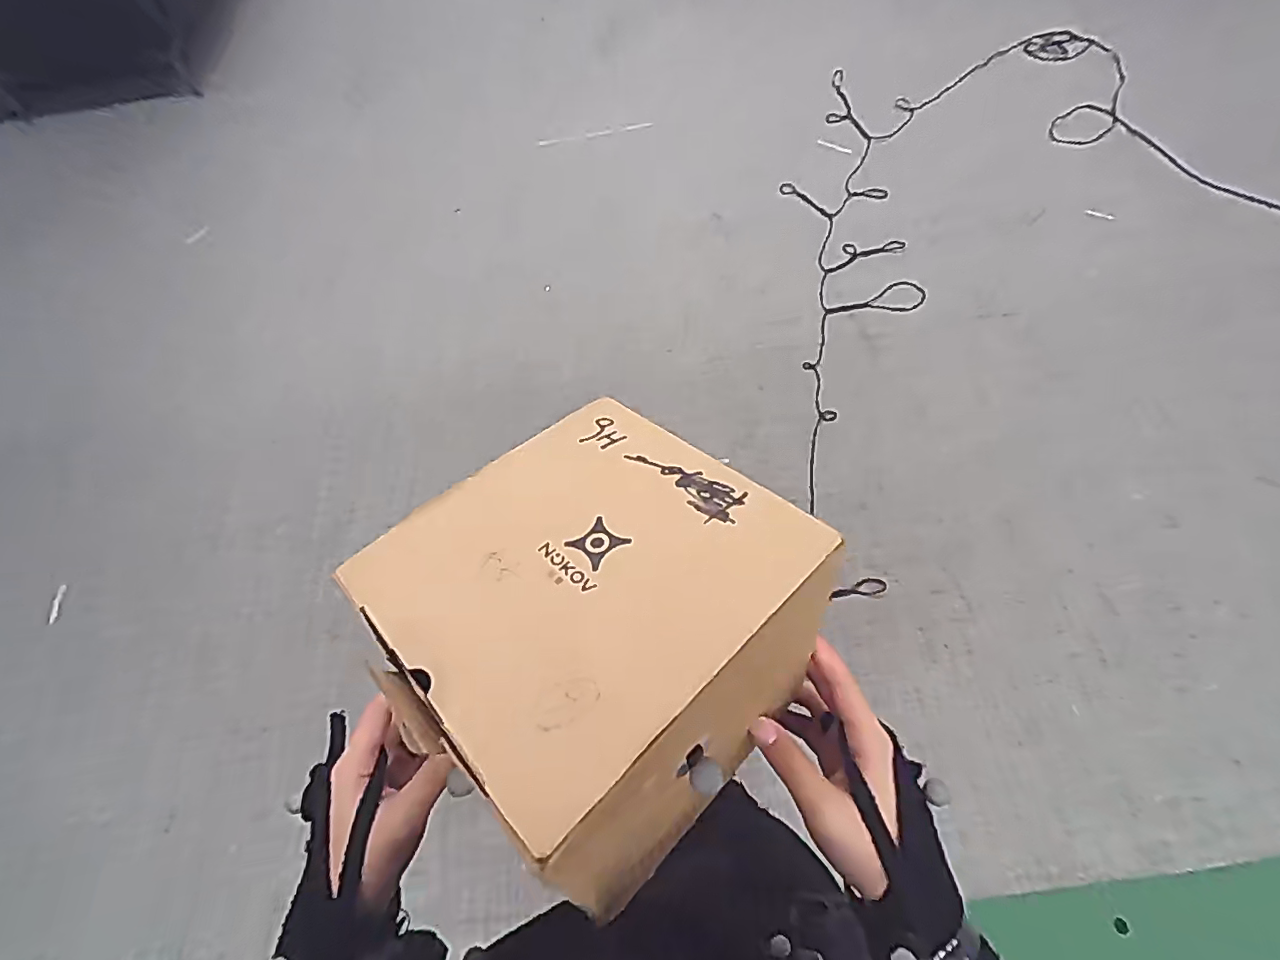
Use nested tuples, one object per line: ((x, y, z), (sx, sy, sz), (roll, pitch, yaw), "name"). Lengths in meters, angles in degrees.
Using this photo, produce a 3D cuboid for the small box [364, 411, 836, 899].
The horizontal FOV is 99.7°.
((-0.014, 0.096, 0.316), (0.179, 0.176, 0.168), (-37, 53, -26), "small box")
